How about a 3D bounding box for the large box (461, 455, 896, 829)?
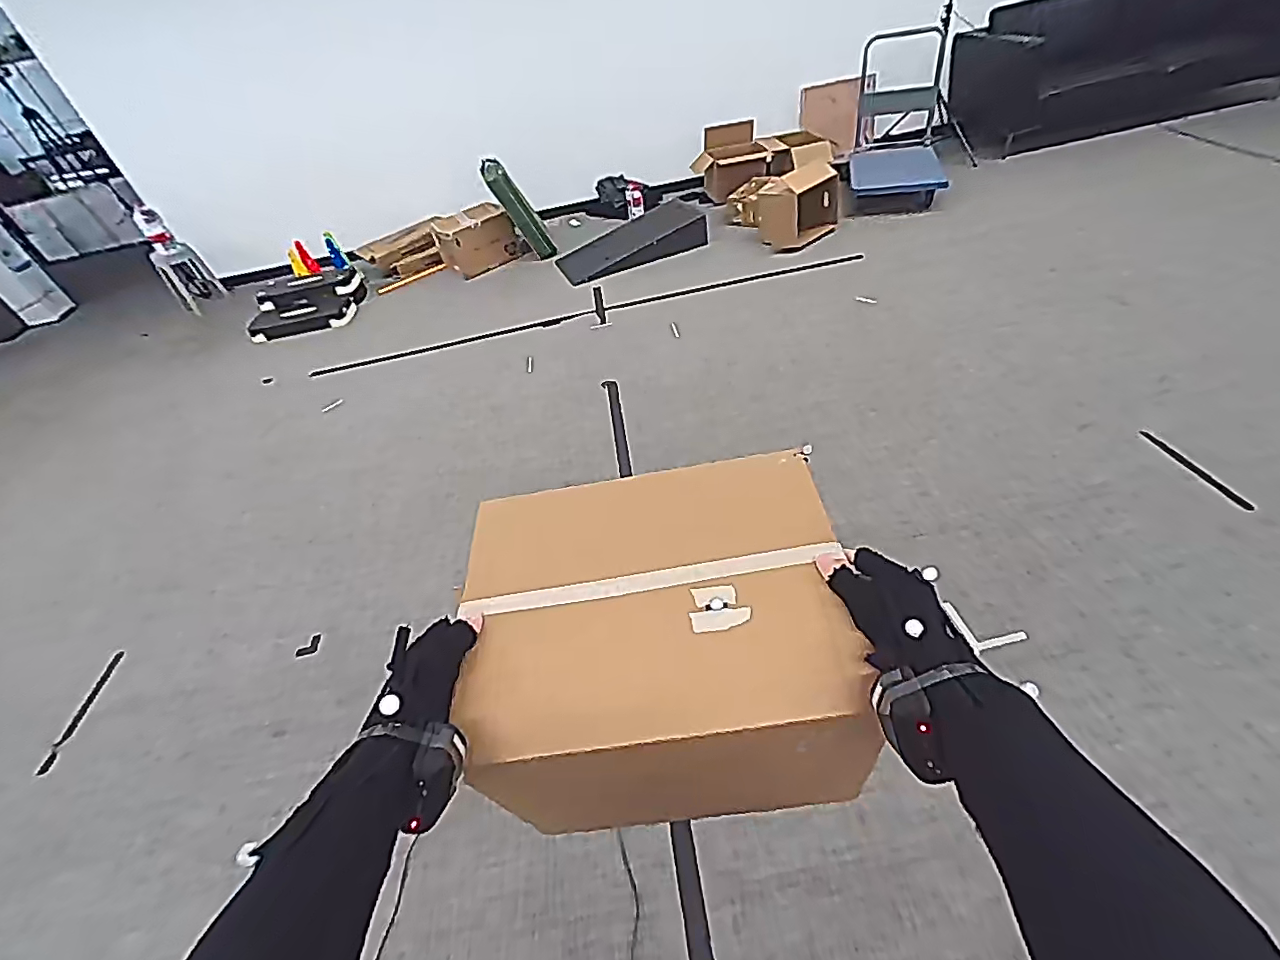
[{"bbox_3d":[0.039,0.211,0.687,0.408,0.320,0.320,-9,47,3],"label":"large box"}]
